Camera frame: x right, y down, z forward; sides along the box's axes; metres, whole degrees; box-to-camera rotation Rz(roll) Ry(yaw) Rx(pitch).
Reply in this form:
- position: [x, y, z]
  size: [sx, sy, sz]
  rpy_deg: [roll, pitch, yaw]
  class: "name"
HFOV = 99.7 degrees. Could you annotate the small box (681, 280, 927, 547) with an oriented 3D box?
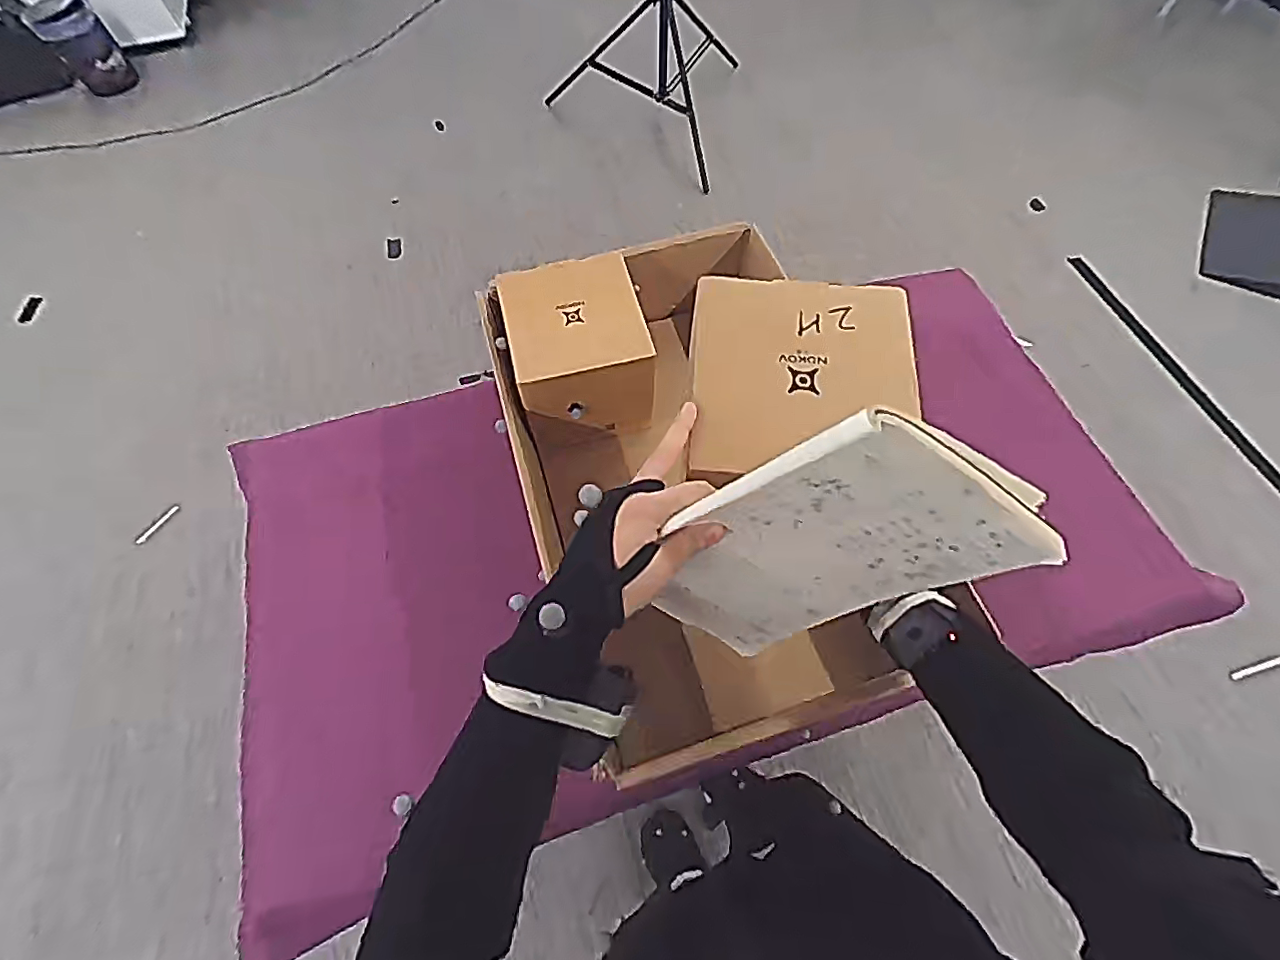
- position: [0.125, -0.047, 0.478]
  size: [0.168, 0.176, 0.179]
  rpy_deg: [4, 67, 3]
  class: "small box"
